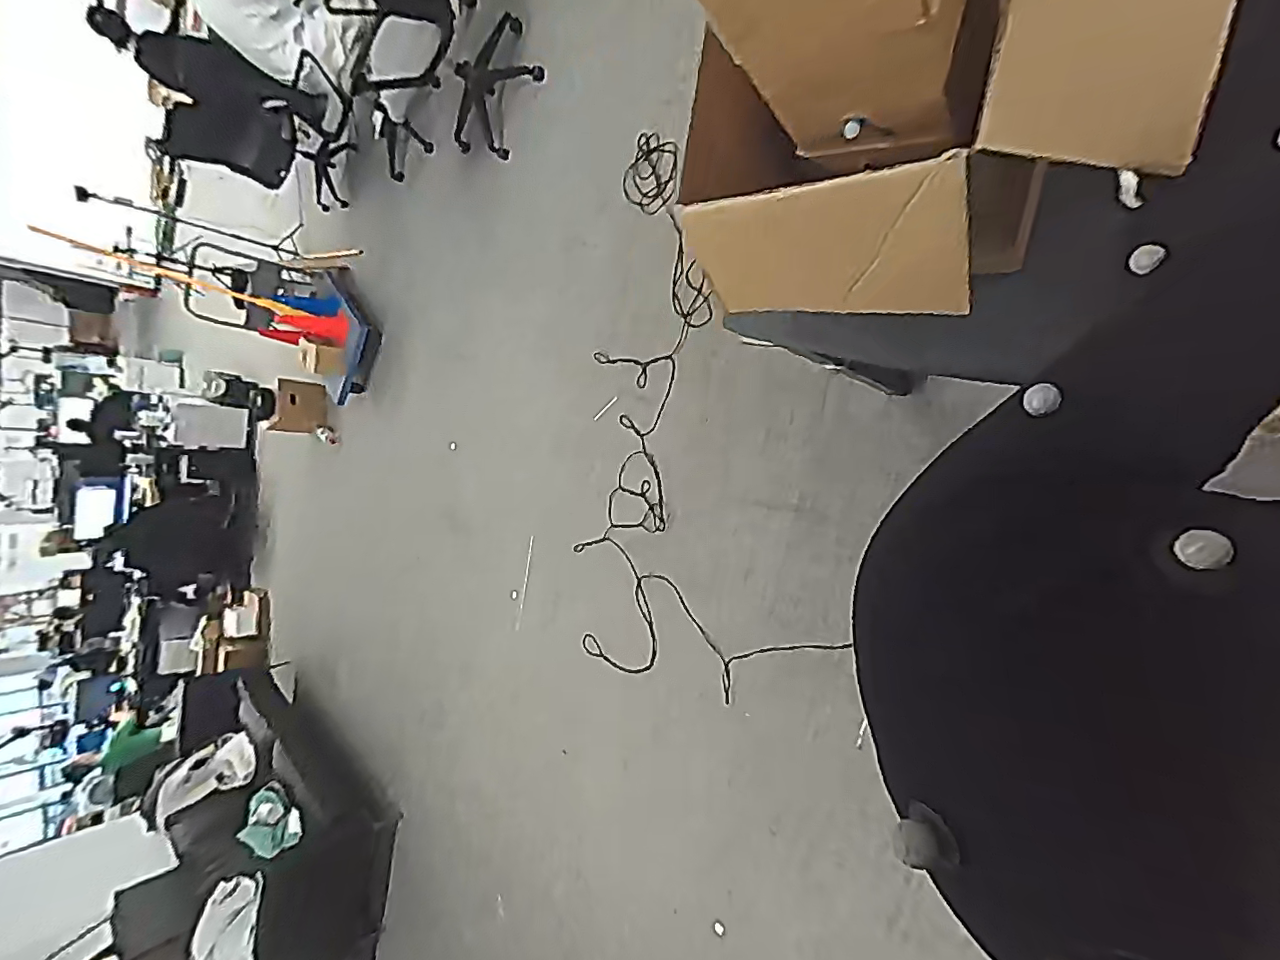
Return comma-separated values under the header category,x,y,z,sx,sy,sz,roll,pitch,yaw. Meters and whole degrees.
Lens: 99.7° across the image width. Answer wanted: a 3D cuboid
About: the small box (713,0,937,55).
category,x,y,z,sx,sy,sz,roll,pitch,yaw
small box,0.136,-0.460,0.397,0.179,0.176,0.168,18,99,35
